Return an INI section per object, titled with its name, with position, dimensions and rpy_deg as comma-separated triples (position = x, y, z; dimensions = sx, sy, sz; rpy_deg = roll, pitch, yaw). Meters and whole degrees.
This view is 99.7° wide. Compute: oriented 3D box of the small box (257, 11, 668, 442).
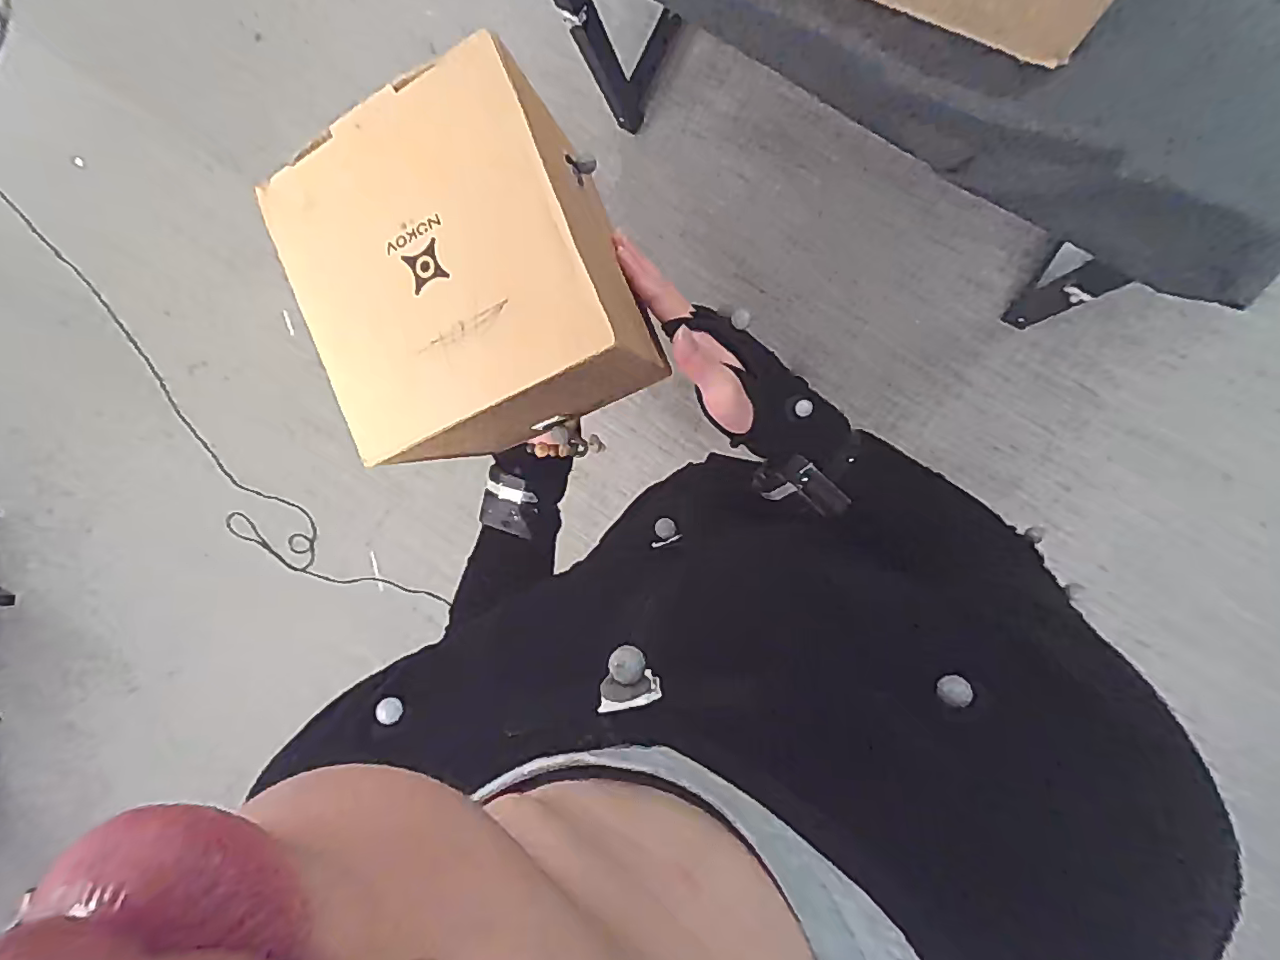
[small box]
position = -0.096, -0.135, 0.366
dimensions = 0.168, 0.176, 0.179
rpy_deg = -23, 90, 15
